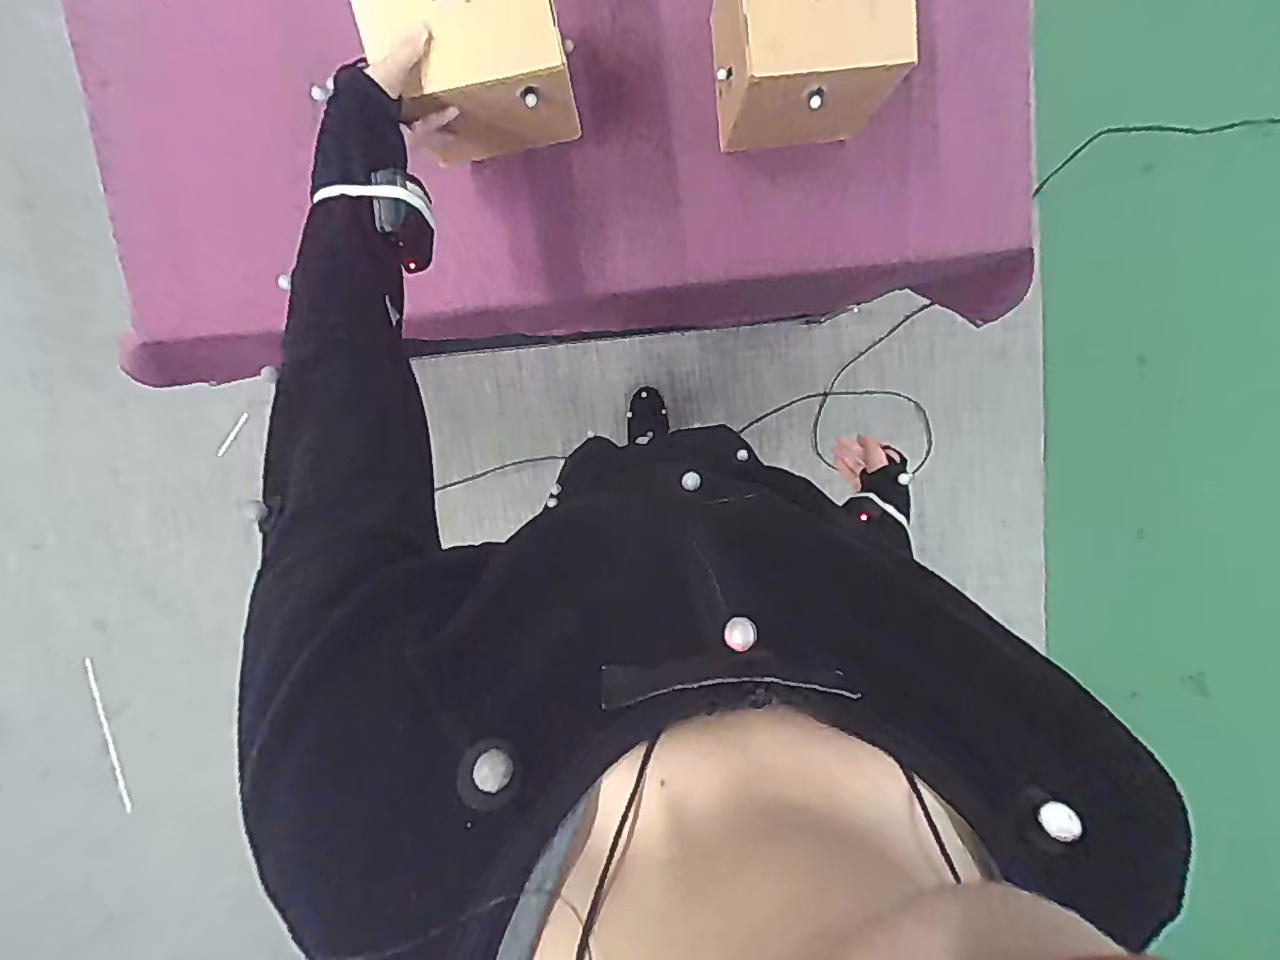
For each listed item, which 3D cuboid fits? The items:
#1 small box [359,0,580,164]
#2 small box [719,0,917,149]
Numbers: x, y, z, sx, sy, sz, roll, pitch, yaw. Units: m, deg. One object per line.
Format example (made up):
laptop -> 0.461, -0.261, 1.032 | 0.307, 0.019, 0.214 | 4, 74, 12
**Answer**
small box -> -0.168, -0.456, 0.560 | 0.179, 0.176, 0.168 | -12, 102, 0
small box -> 0.188, -0.506, 0.620 | 0.179, 0.176, 0.168 | -5, 98, -1
